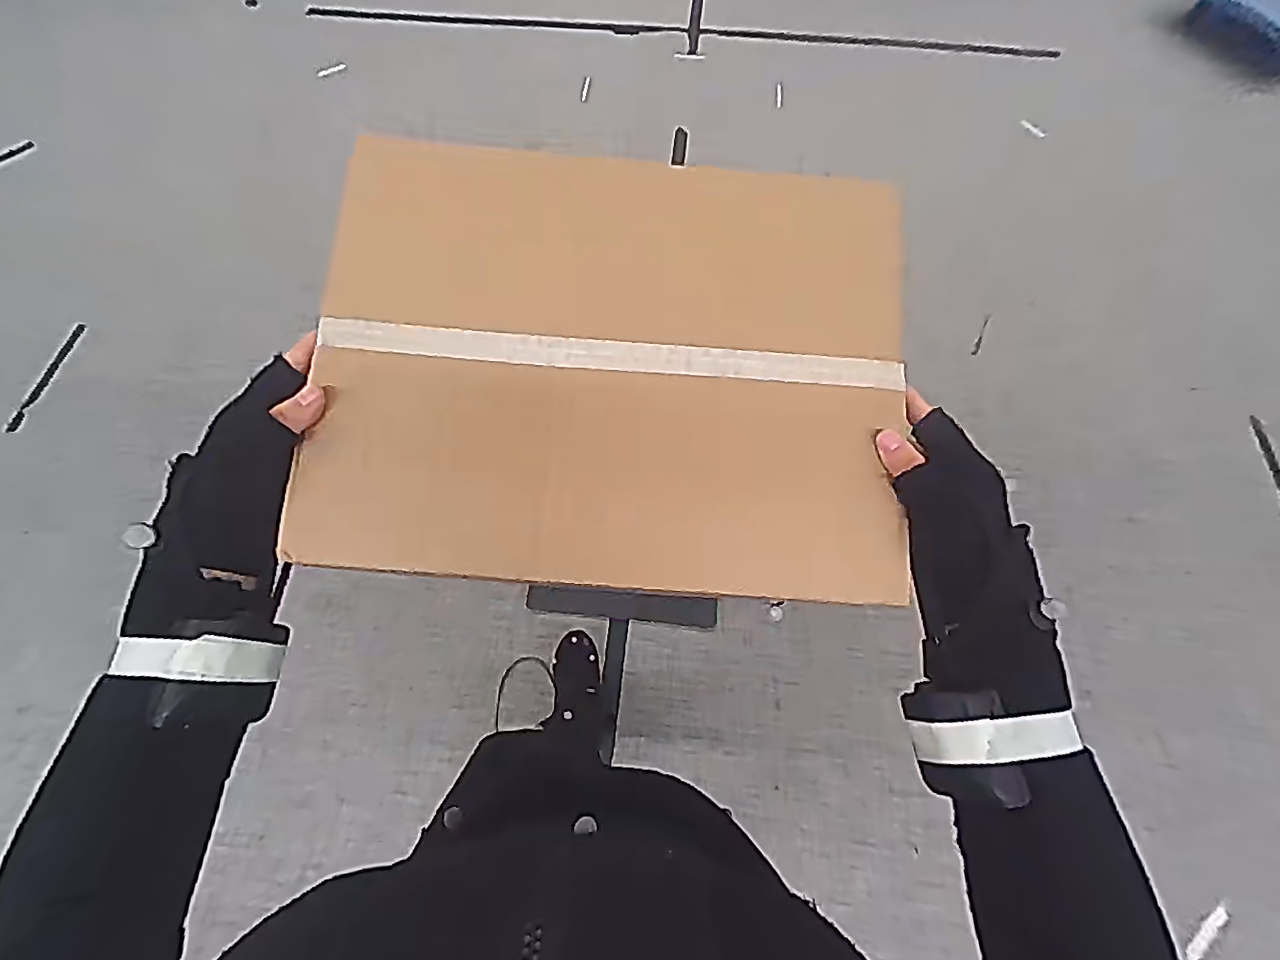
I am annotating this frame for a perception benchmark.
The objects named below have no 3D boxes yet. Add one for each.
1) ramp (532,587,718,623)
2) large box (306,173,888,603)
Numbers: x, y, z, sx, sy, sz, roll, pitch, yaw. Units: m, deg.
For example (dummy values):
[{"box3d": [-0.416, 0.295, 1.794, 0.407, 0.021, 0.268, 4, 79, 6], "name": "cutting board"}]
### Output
[{"box3d": [0.008, -0.132, 1.514, 0.509, 0.206, 0.991, 4, 67, 0], "name": "ramp"}, {"box3d": [-0.022, -0.050, 0.539, 0.408, 0.320, 0.320, 4, 78, -1], "name": "large box"}]
